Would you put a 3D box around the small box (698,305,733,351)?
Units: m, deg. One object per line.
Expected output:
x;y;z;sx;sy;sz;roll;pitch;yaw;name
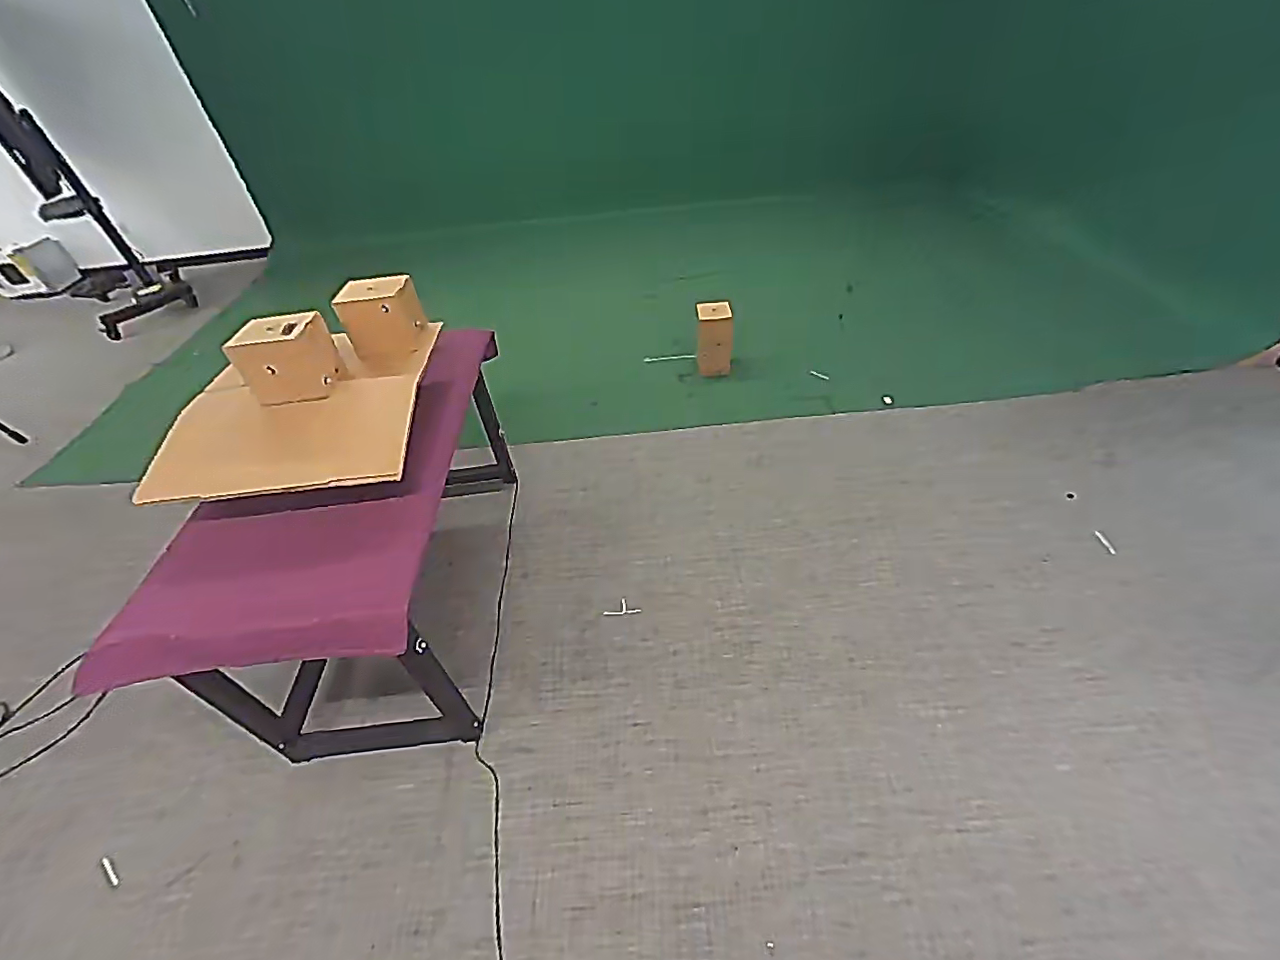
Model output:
0.389;-0.794;2.819;0.168;0.176;0.179;-4;43;3;small box

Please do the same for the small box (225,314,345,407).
-0.900;-0.308;1.396;0.179;0.176;0.168;-8;40;-1;small box

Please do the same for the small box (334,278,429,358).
-0.737;-0.465;1.560;0.179;0.176;0.168;-7;41;-1;small box
